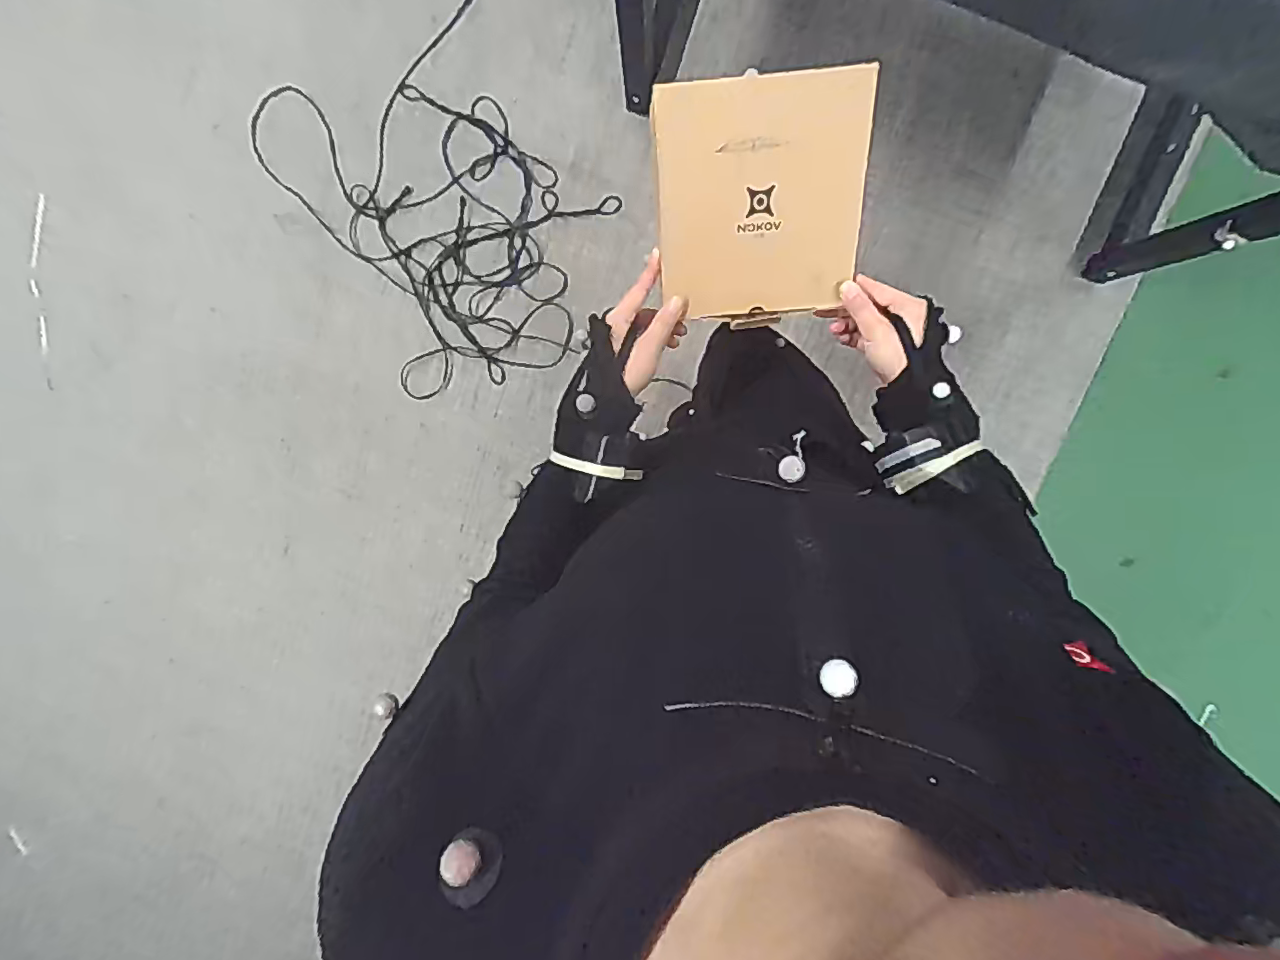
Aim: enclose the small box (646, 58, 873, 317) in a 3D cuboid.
[{"bbox_3d":[0.093,-0.263,0.503,0.168,0.176,0.179,-4,119,2],"label":"small box"}]
